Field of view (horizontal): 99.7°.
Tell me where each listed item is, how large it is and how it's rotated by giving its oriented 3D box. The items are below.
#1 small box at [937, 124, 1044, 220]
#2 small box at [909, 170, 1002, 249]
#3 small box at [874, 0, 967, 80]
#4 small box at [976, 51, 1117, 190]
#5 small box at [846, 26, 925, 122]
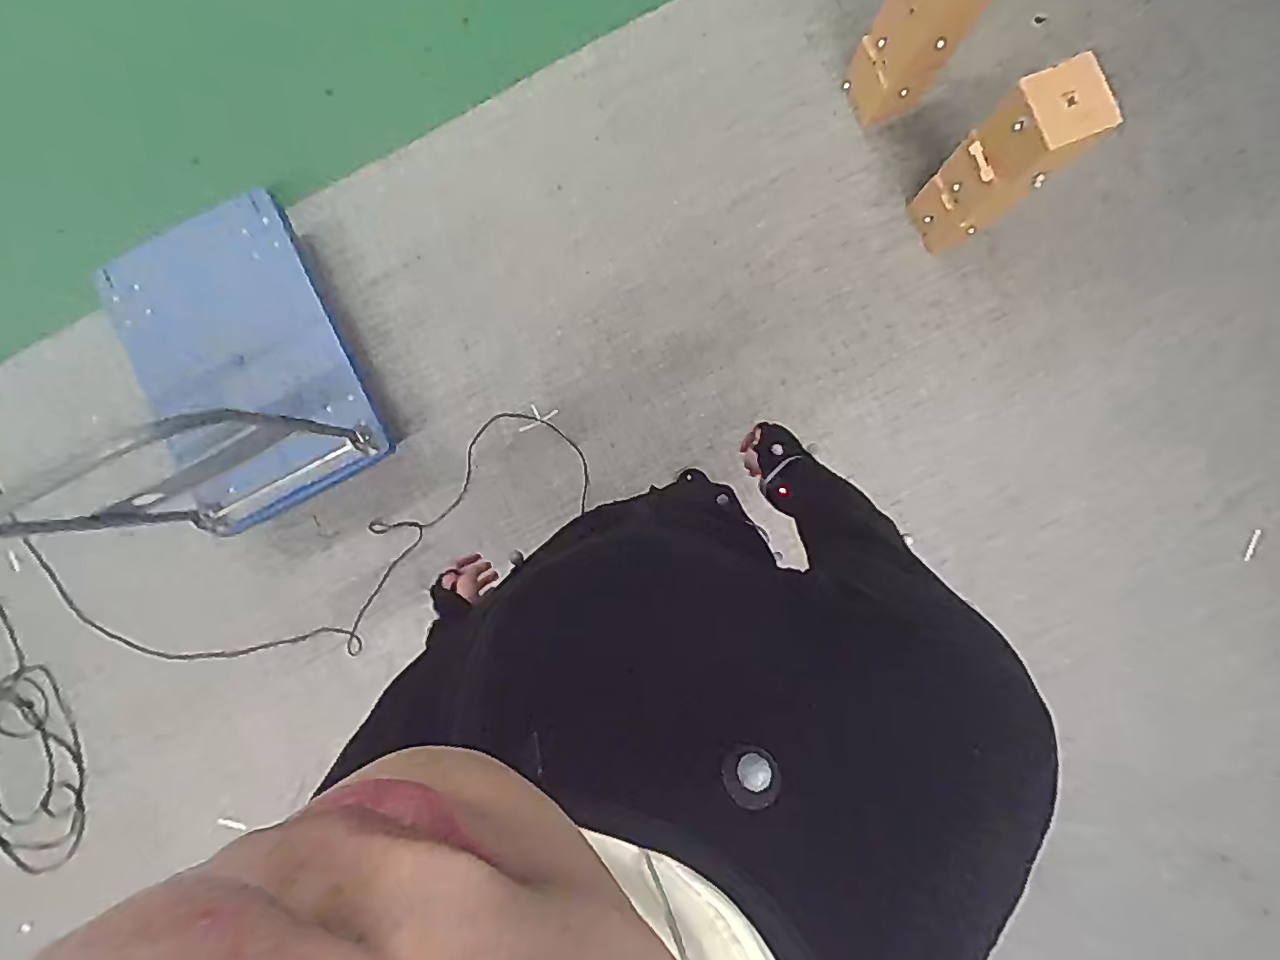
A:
[{"bbox_3d":[0.918,-0.813,1.401,0.179,0.176,0.168,-20,87,1],"label":"small box"},{"bbox_3d":[0.913,-0.803,1.566,0.179,0.176,0.168,-24,88,1],"label":"small box"},{"bbox_3d":[0.739,-1.214,1.430,0.168,0.176,0.179,10,88,4],"label":"small box"},{"bbox_3d":[0.916,-0.812,1.238,0.168,0.176,0.179,-20,88,1],"label":"small box"},{"bbox_3d":[0.727,-1.199,1.585,0.179,0.176,0.168,-22,88,0],"label":"small box"}]
